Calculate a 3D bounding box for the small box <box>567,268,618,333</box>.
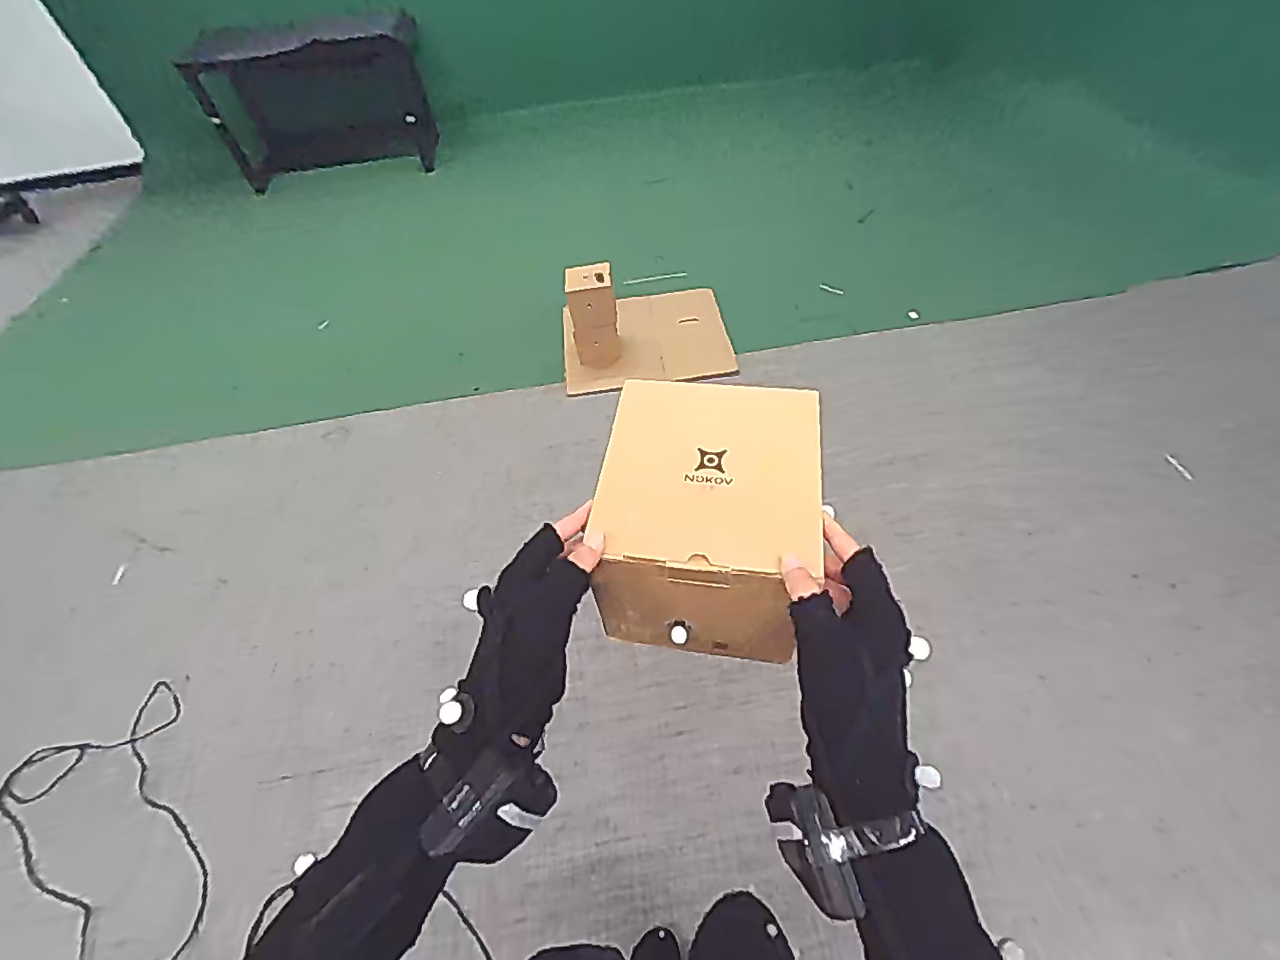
[{"bbox_3d":[-0.181,-0.699,2.114,0.179,0.176,0.168,-7,51,3],"label":"small box"}]
